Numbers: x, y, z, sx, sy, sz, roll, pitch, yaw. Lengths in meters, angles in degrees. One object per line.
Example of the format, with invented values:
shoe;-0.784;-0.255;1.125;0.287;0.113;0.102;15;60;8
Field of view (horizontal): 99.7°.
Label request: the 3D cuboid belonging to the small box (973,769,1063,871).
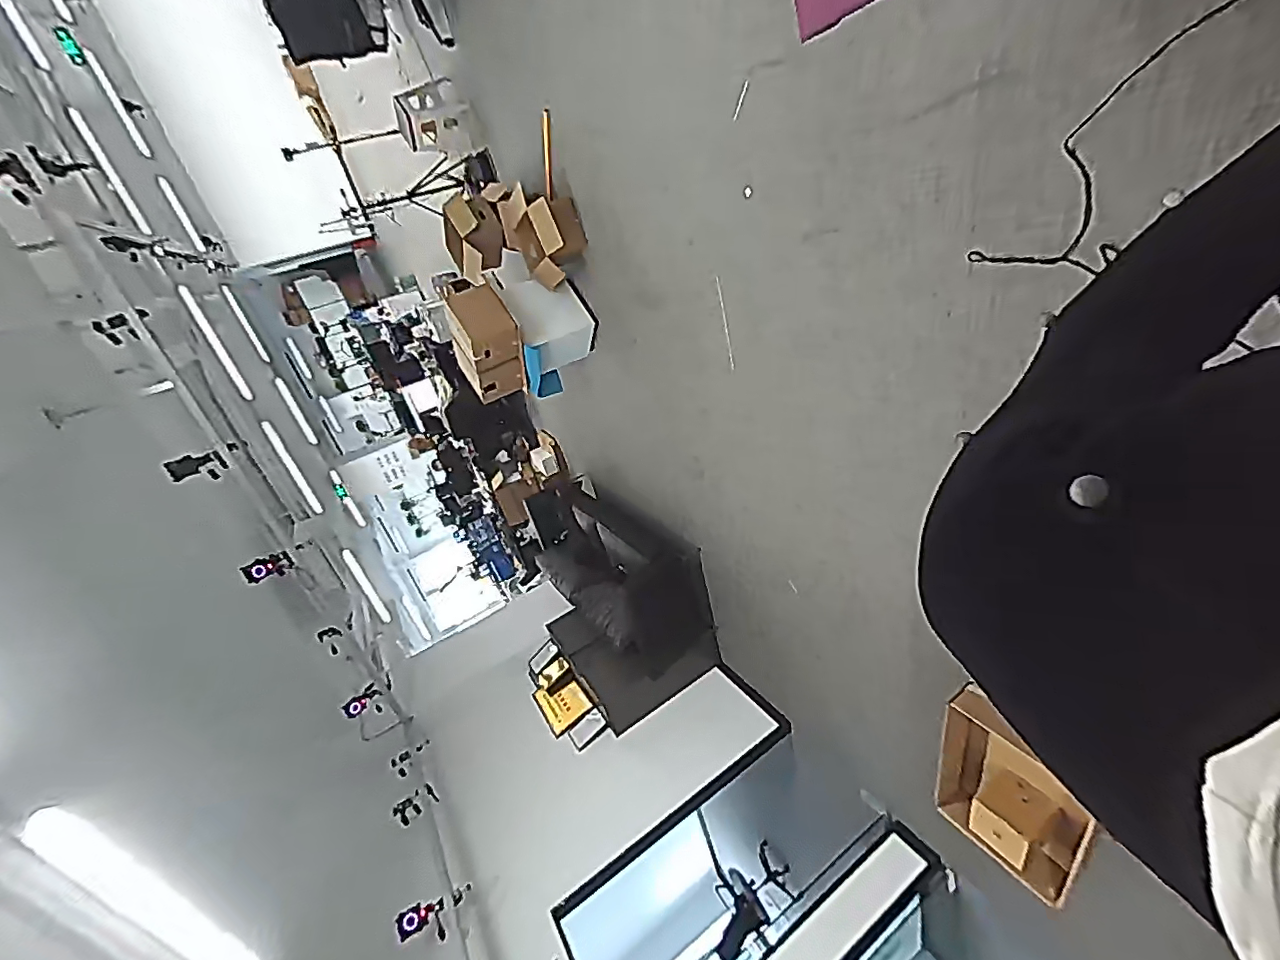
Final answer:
small box;1.179;1.056;1.688;0.168;0.176;0.179;33;143;53
